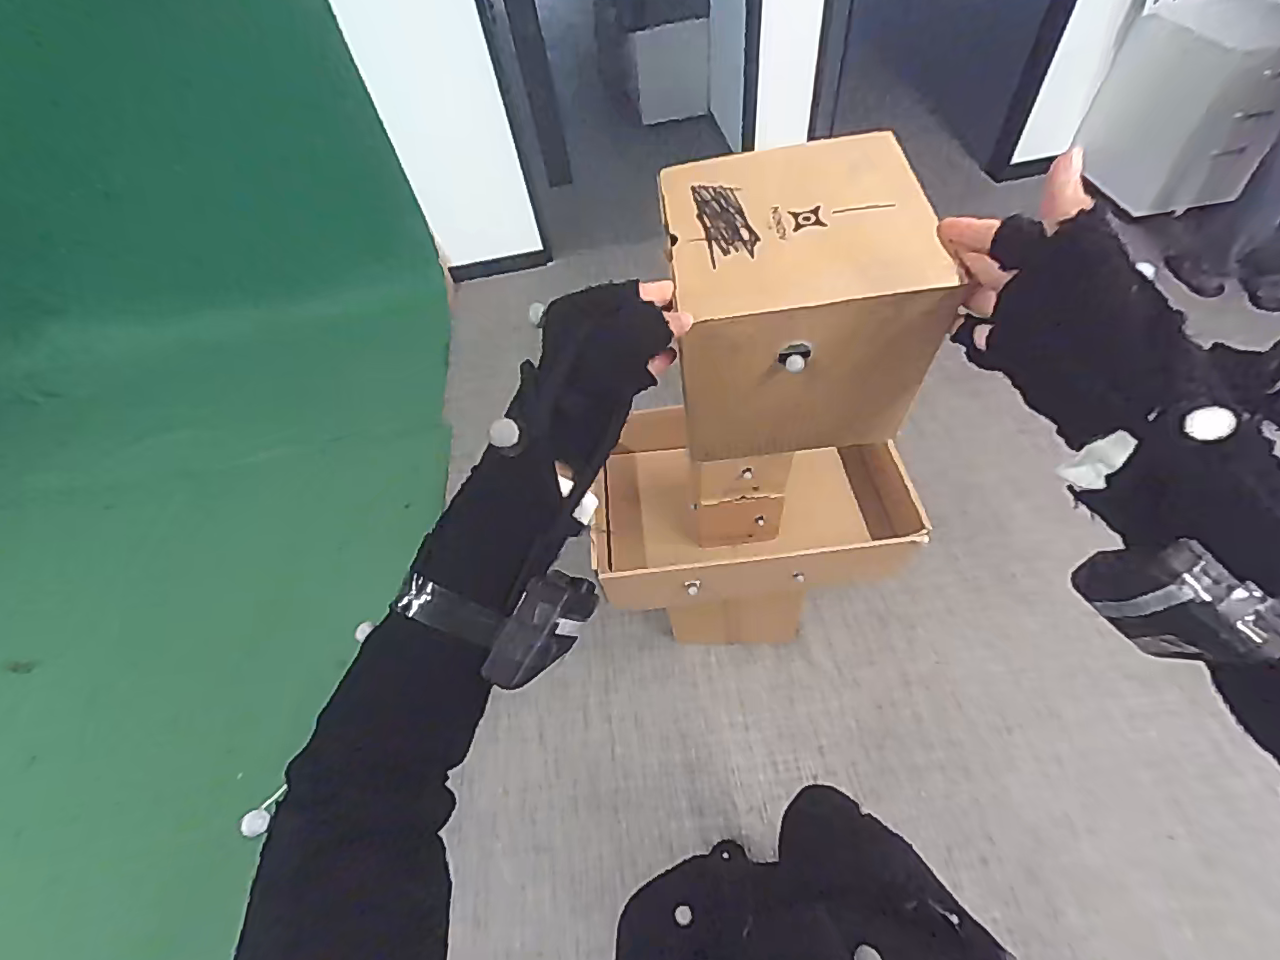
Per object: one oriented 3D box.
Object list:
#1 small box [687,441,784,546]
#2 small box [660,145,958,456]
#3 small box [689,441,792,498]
[{"bbox_3d":[0.193,0.025,1.130,0.168,0.176,0.179,-7,51,0],"label":"small box"},{"bbox_3d":[0.116,-0.133,0.442,0.179,0.176,0.168,-6,60,5],"label":"small box"},{"bbox_3d":[0.181,-0.079,1.004,0.168,0.176,0.179,-6,54,1],"label":"small box"}]
